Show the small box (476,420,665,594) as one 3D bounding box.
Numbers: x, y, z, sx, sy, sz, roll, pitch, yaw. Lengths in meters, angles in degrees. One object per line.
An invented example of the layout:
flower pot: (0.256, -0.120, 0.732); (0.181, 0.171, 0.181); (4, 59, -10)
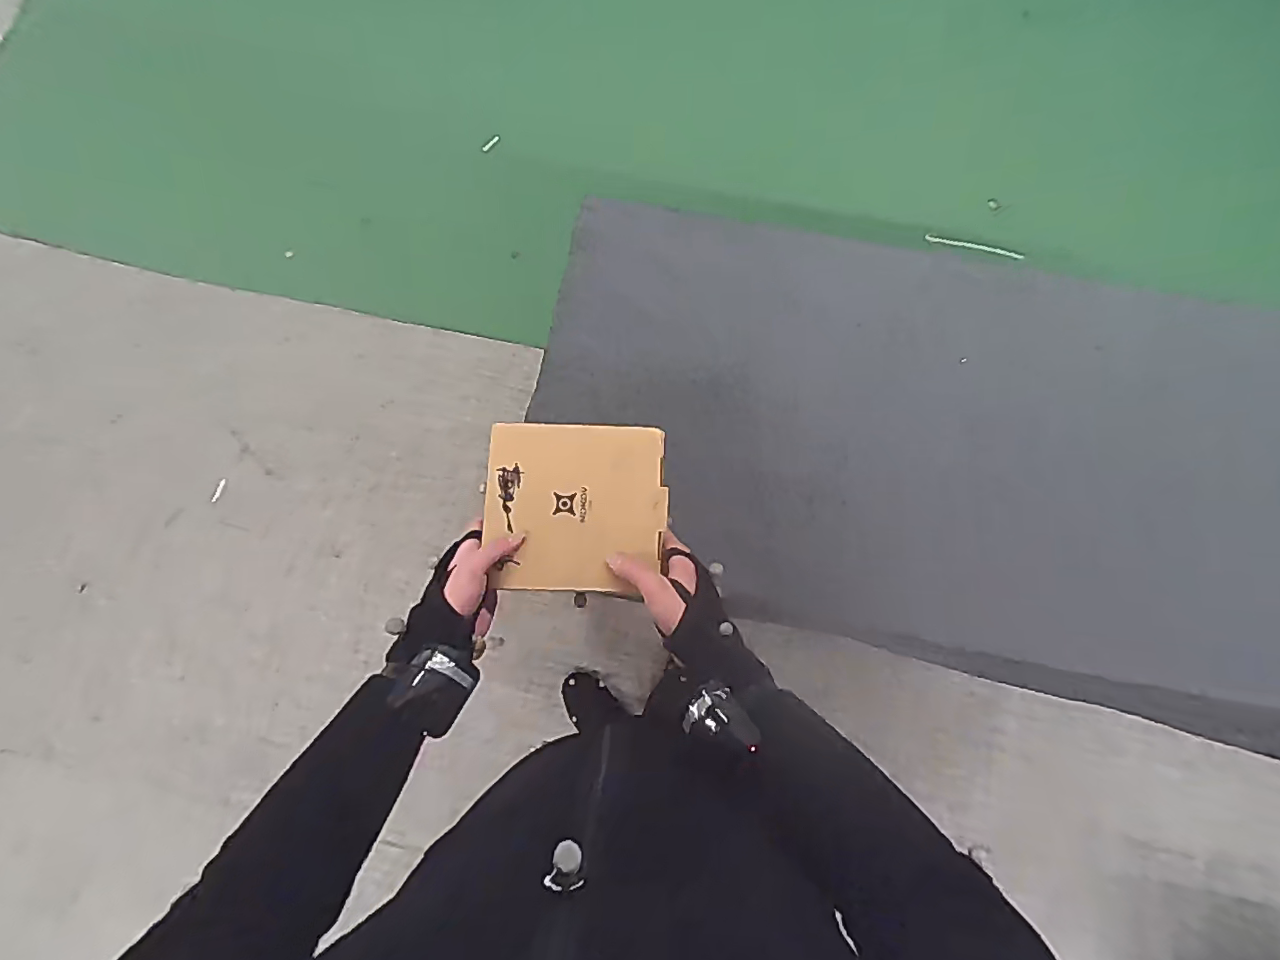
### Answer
small box: (-0.067, 0.039, 0.603); (0.179, 0.176, 0.168); (2, 78, -1)
